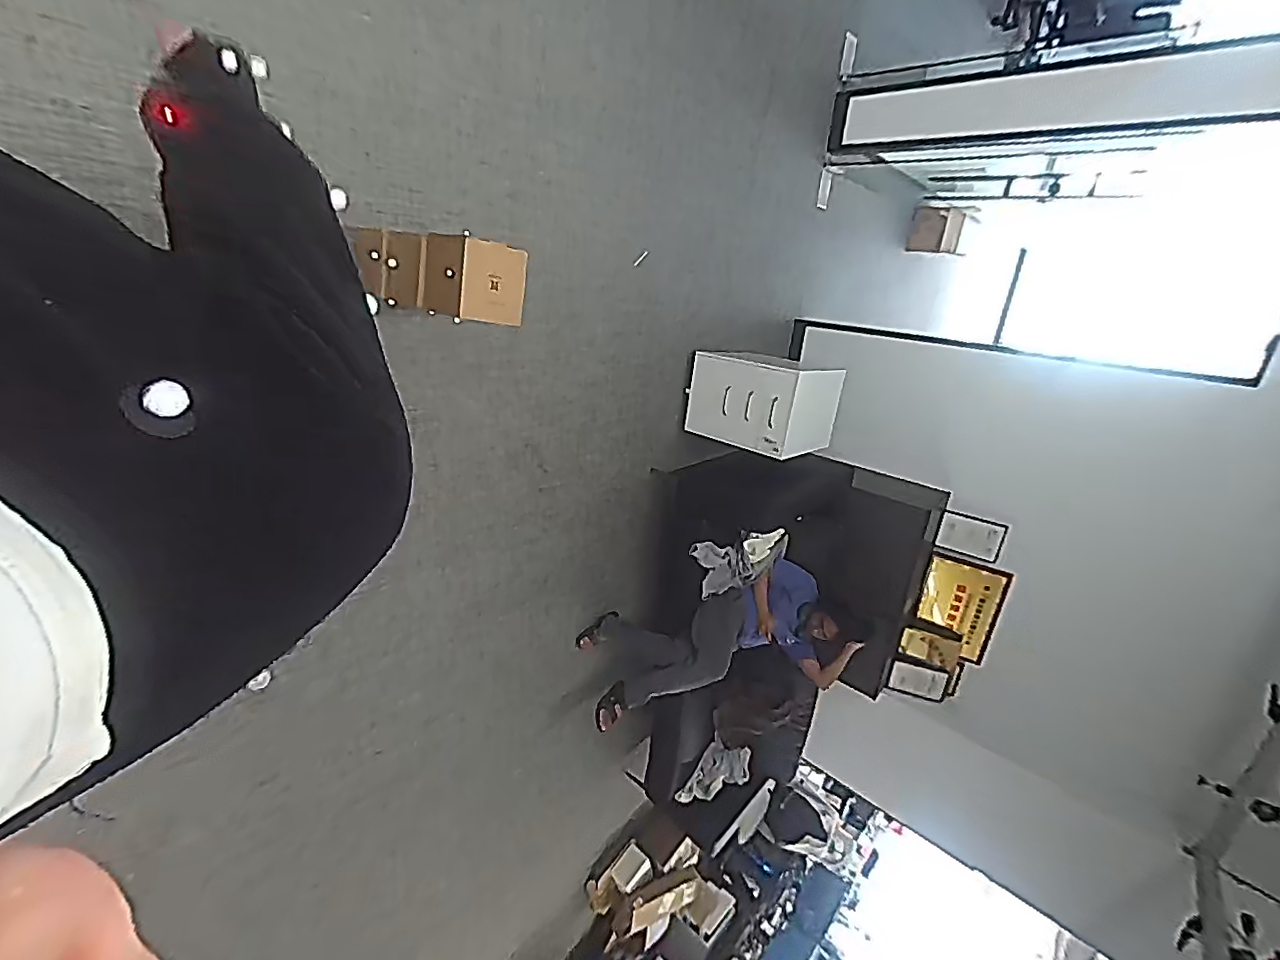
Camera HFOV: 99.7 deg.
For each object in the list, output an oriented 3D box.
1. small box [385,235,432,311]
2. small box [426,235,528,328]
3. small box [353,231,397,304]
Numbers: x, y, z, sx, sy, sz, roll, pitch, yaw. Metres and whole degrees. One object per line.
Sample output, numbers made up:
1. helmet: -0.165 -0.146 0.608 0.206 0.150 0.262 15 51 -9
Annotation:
1. small box: -0.513 -0.512 1.361 0.179 0.176 0.168 -7 113 -49
2. small box: -0.386 -0.466 1.271 0.168 0.176 0.179 -10 116 -48
3. small box: -0.642 -0.562 1.451 0.179 0.176 0.168 -10 115 -50
